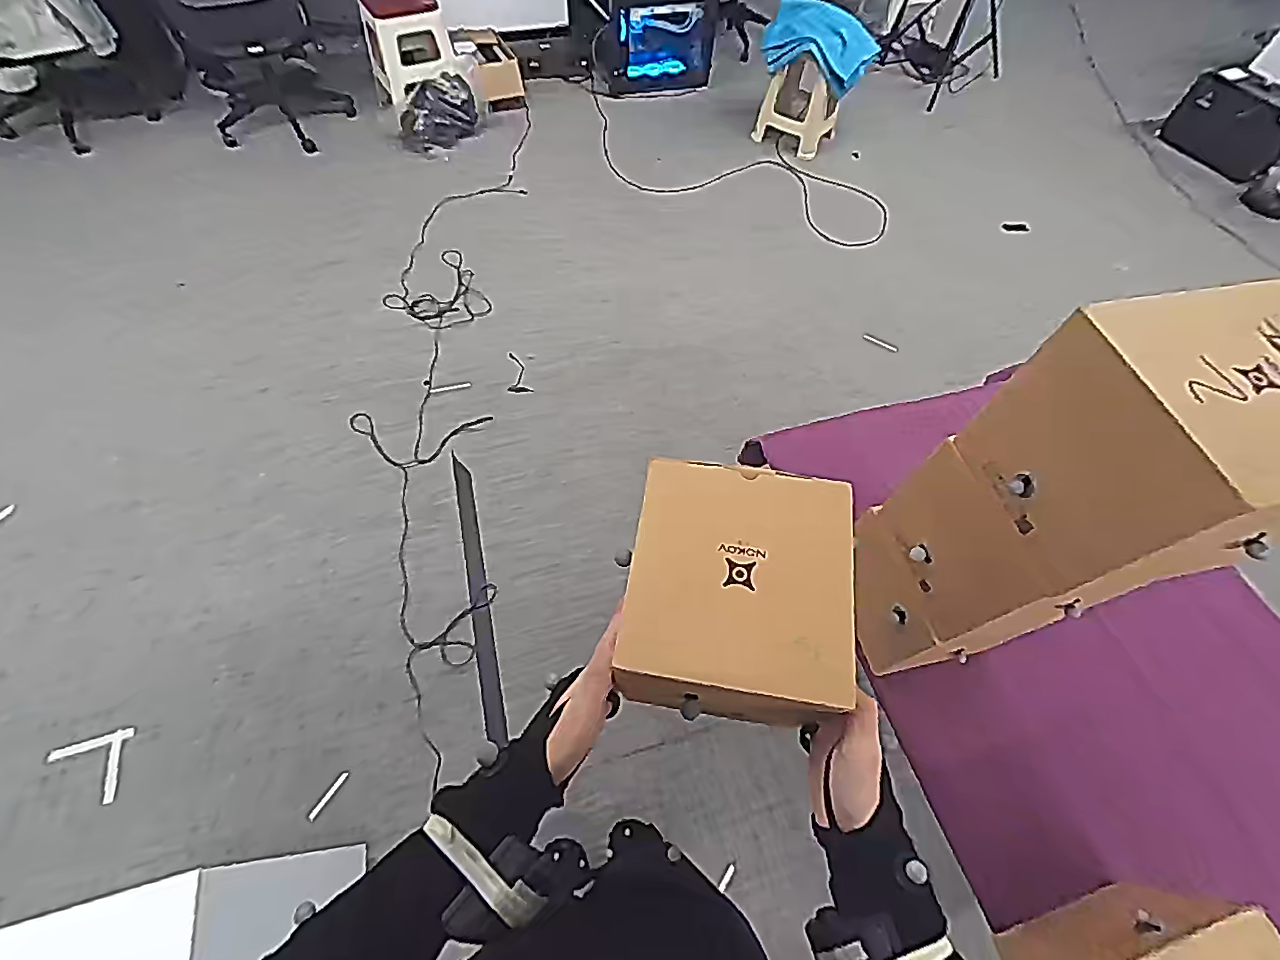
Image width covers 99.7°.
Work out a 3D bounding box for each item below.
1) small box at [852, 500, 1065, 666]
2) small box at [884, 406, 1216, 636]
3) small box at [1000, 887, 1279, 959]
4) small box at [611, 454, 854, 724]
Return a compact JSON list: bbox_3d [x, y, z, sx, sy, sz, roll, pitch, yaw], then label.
[{"bbox_3d":[0.379,0.131,0.703,0.168,0.176,0.179,-9,60,-9],"label":"small box"},{"bbox_3d":[0.395,0.048,0.562,0.179,0.176,0.168,-11,60,-8],"label":"small box"},{"bbox_3d":[0.486,0.498,0.490,0.179,0.176,0.168,-13,59,-10],"label":"small box"},{"bbox_3d":[0.077,0.102,0.469,0.168,0.176,0.179,7,61,6],"label":"small box"}]
